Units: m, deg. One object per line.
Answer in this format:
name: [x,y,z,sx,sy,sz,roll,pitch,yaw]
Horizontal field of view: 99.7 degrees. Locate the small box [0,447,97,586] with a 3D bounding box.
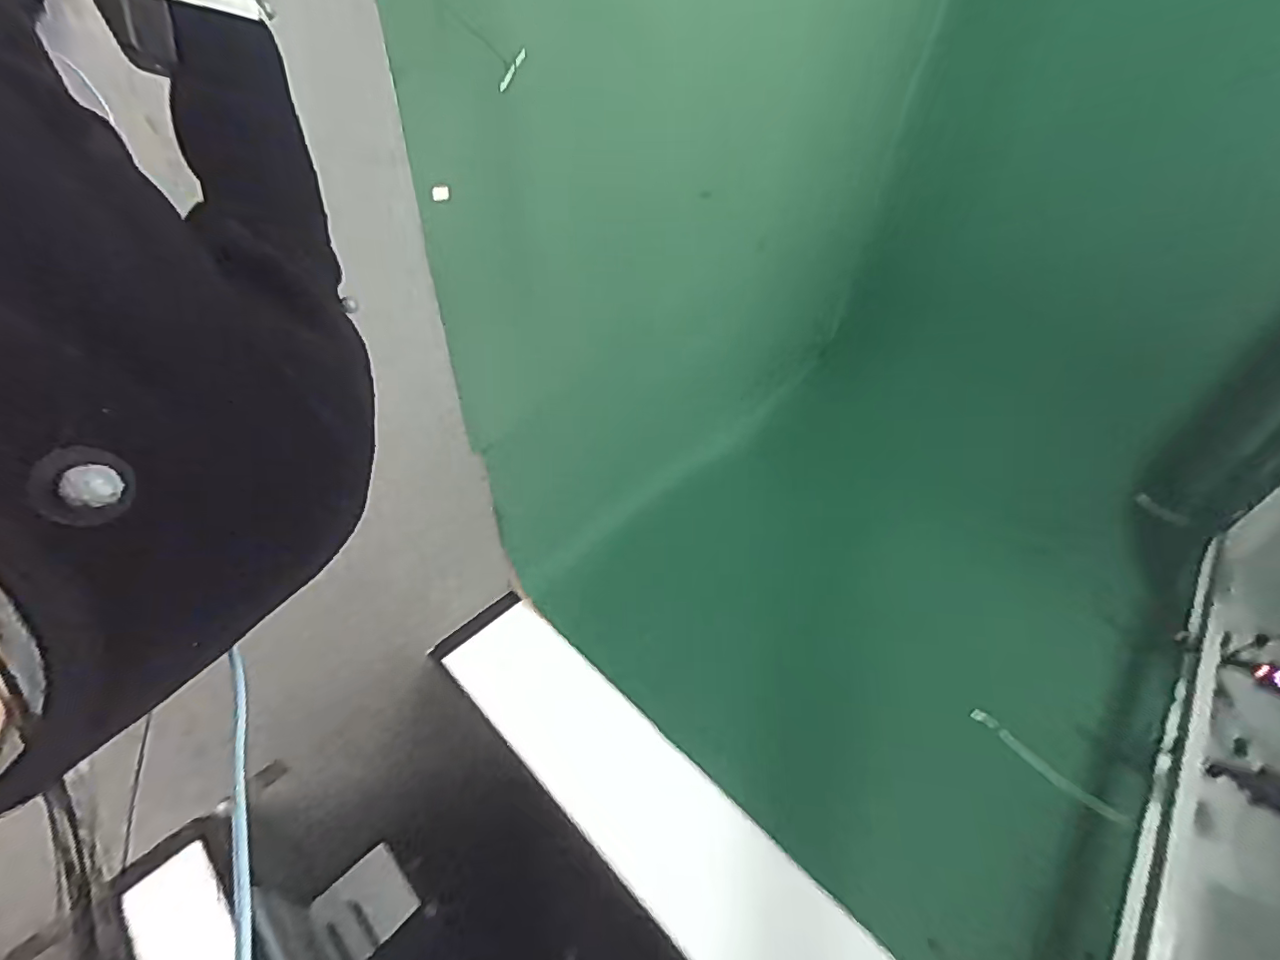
small box: [-1.135,0.064,0.961,0.179,0.176,0.168,-29,140,-41]

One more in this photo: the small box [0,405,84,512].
small box: [-1.244,-0.020,1.053,0.168,0.176,0.179,-28,140,-41]
